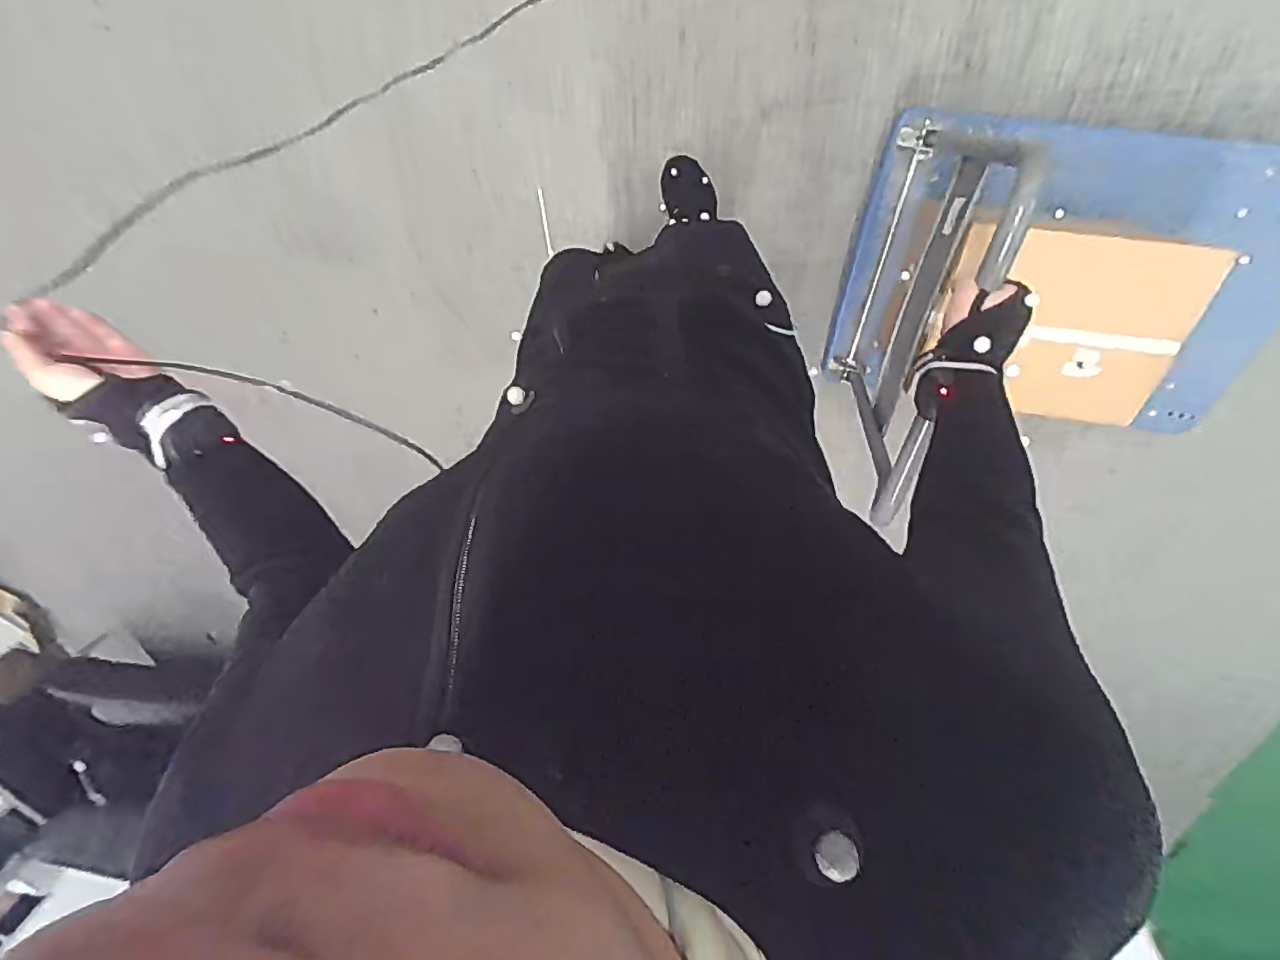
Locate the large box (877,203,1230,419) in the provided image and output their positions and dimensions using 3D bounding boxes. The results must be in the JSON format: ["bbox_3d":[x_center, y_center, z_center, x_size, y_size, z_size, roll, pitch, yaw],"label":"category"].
[{"bbox_3d":[0.742,-0.348,1.069,0.408,0.320,0.320,9,125,5],"label":"large box"}]
